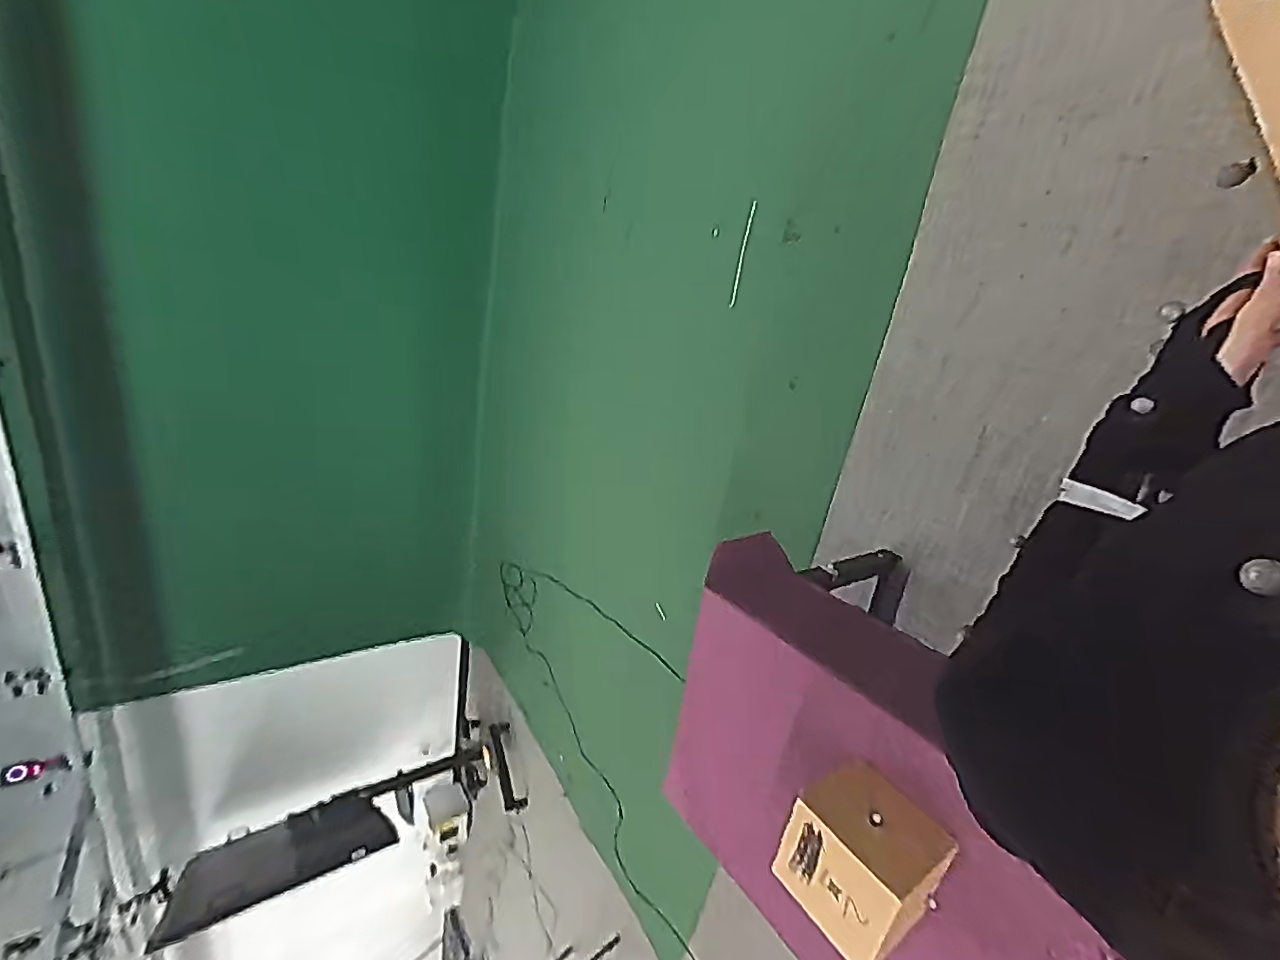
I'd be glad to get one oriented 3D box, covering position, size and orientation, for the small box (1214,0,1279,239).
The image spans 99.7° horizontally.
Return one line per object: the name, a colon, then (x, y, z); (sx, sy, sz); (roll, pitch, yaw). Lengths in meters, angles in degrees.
small box: (0.441, -0.227, 0.280); (0.168, 0.176, 0.179); (-19, 92, 49)
